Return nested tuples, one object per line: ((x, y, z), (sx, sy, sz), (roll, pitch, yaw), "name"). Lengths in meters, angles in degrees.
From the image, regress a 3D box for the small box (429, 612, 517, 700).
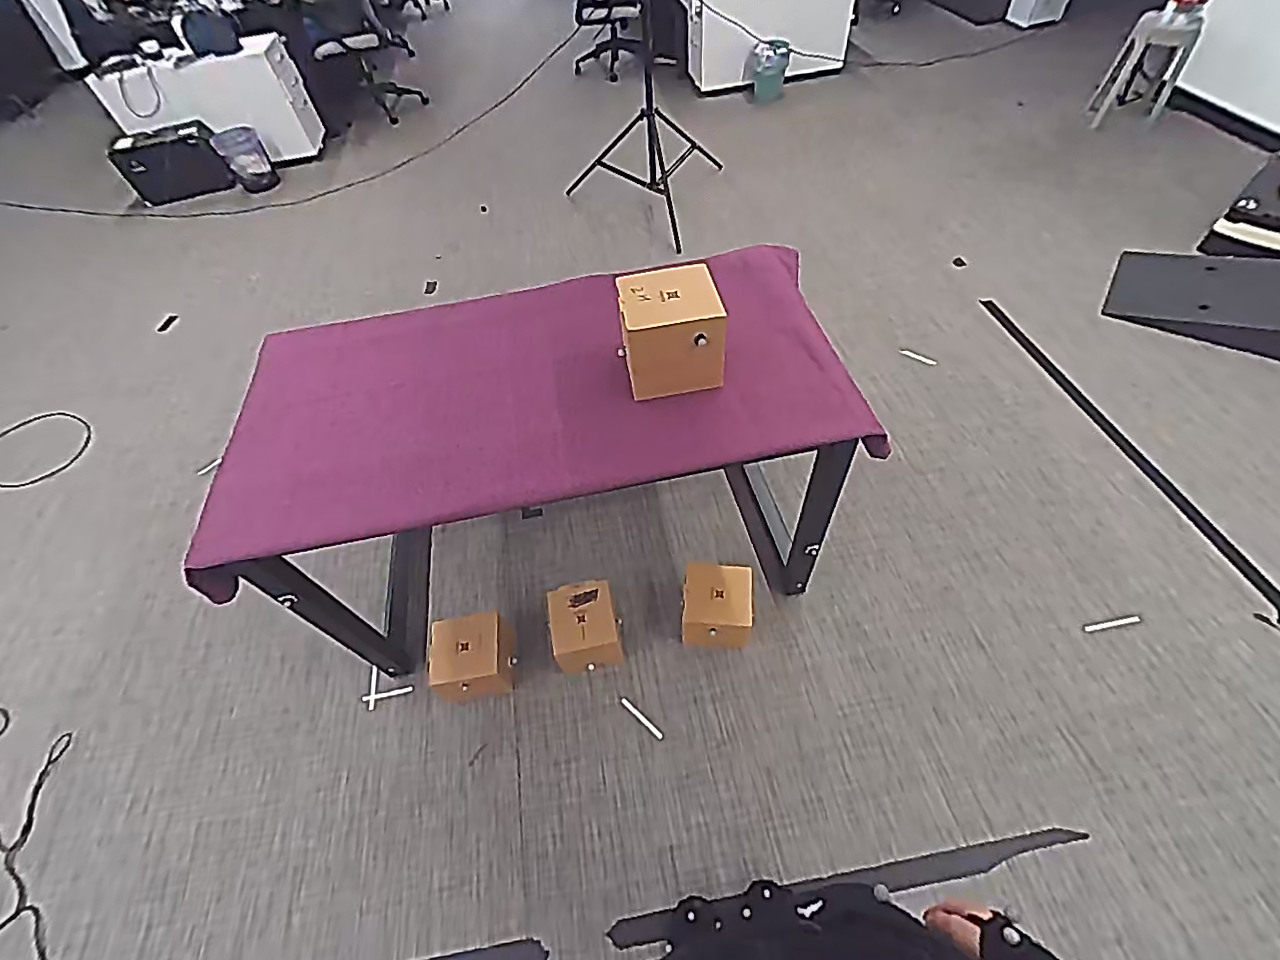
((-0.436, 0.472, 1.437), (0.179, 0.176, 0.168), (-9, 54, -2), "small box")

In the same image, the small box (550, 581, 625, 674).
((-0.140, 0.398, 1.458), (0.168, 0.176, 0.179), (-12, 54, -3), "small box")

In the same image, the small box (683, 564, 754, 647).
((0.212, 0.344, 1.463), (0.179, 0.176, 0.168), (2, 55, 9), "small box")

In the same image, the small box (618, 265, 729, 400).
((0.061, -0.276, 1.024), (0.179, 0.176, 0.168), (-10, 53, -1), "small box")
